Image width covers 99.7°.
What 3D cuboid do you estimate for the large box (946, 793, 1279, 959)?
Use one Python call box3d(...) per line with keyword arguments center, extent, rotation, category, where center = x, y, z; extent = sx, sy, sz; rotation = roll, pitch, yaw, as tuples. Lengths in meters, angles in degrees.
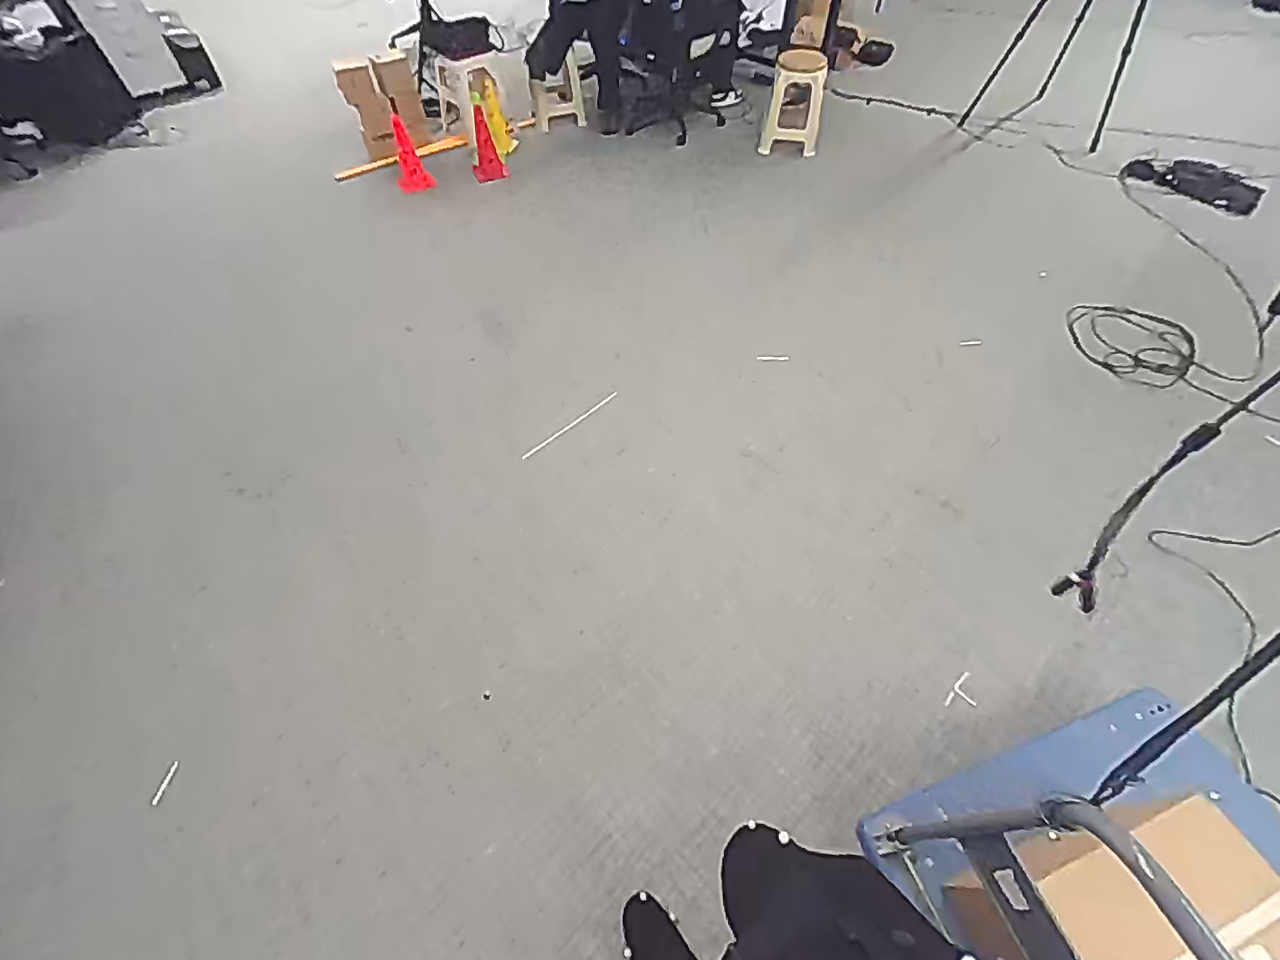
box3d(center=(0.858, 0.813, 0.949), extent=(0.408, 0.320, 0.320), rotation=(-16, 56, -12), category="large box")
